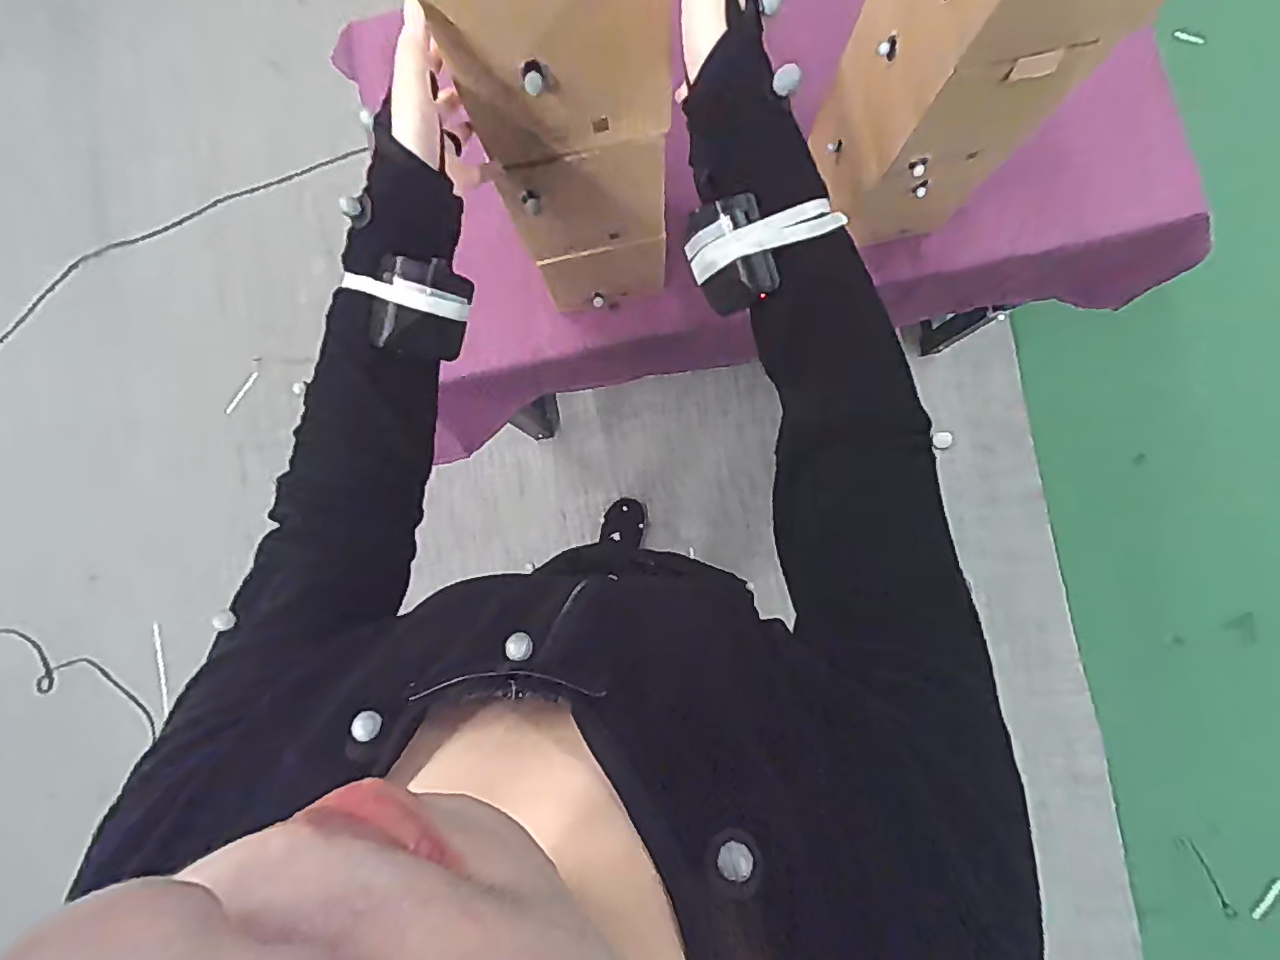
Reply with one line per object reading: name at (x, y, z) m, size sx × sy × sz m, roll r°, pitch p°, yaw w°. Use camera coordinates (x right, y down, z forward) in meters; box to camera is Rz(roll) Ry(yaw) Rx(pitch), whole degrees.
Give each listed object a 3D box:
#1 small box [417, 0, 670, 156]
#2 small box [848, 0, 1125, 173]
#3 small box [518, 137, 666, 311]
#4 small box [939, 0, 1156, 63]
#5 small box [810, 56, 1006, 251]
small box at (-0.070, -0.386, 0.419) m, size 0.168 × 0.176 × 0.179 m, roll -11°, pitch 85°, yaw 1°
small box at (0.346, -0.460, 0.576) m, size 0.168 × 0.176 × 0.179 m, roll -13°, pitch 85°, yaw 0°
small box at (-0.062, -0.359, 0.745) m, size 0.168 × 0.176 × 0.179 m, roll -11°, pitch 87°, yaw 1°
small box at (0.344, -0.466, 0.411) m, size 0.179 × 0.176 × 0.168 m, roll -12°, pitch 87°, yaw 0°
small box at (0.348, -0.448, 0.740) m, size 0.168 × 0.176 × 0.179 m, roll -12°, pitch 85°, yaw 2°
